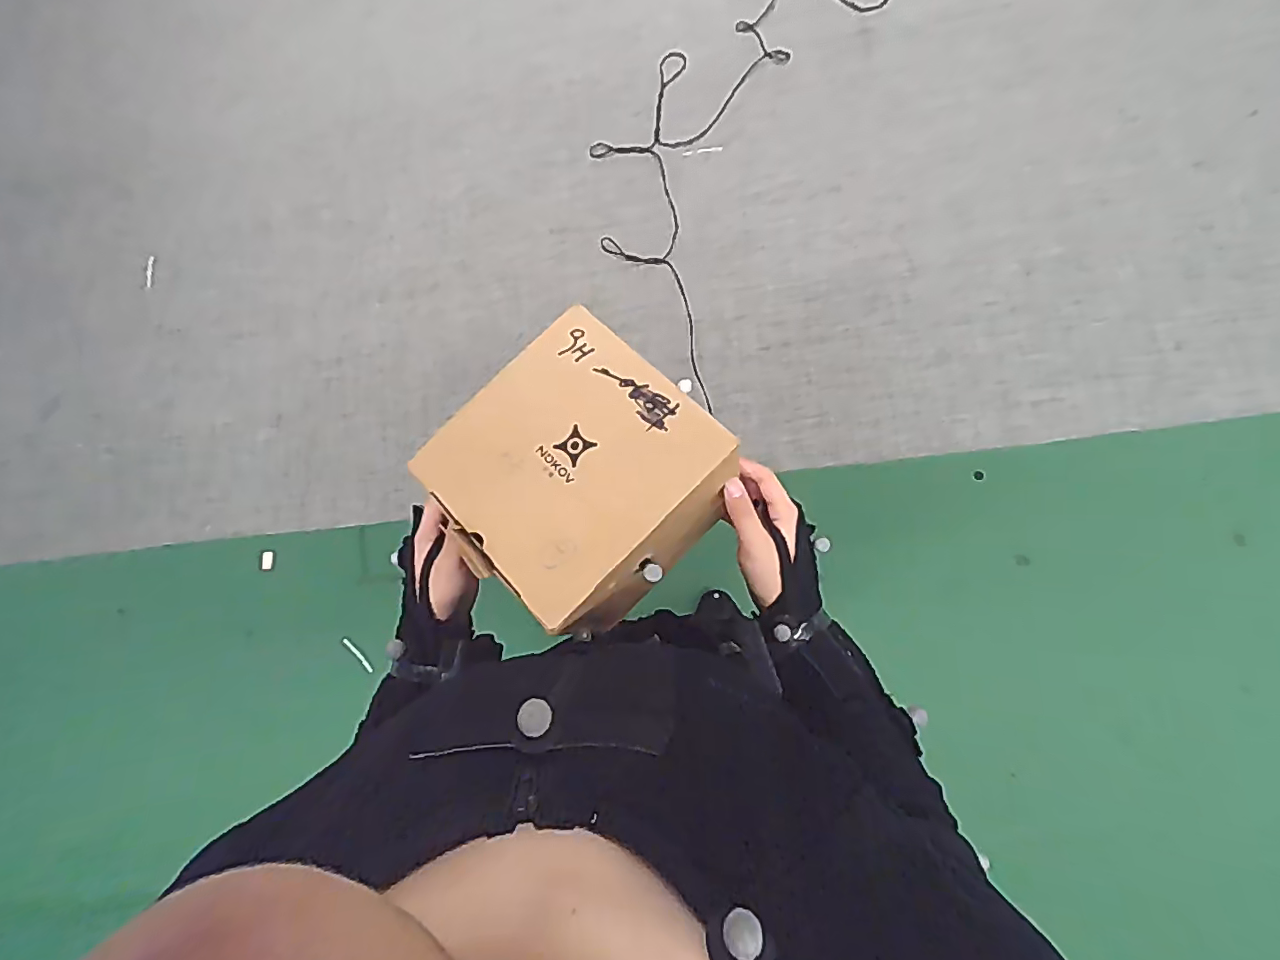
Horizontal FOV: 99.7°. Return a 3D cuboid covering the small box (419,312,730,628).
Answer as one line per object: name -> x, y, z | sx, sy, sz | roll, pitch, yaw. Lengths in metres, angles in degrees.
small box -> -0.036, 0.005, 0.456 | 0.179, 0.176, 0.168 | -46, 72, -3
